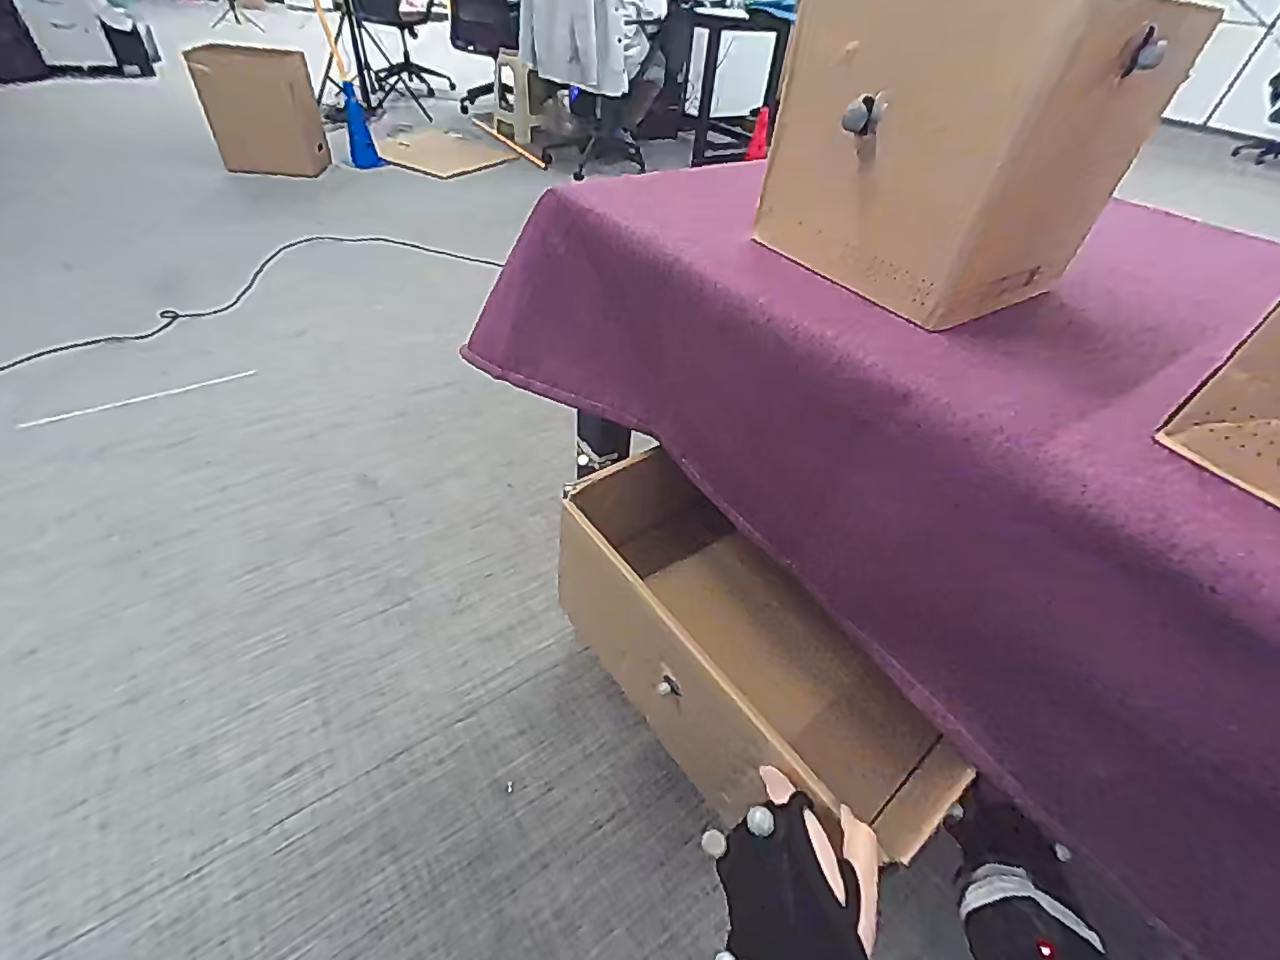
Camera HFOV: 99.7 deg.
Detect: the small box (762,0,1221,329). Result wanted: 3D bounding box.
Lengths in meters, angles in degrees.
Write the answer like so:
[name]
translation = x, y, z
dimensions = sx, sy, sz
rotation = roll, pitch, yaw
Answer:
[small box]
translation = 0.210, -0.227, 0.374
dimensions = 0.168, 0.176, 0.179
rotation = -23, 50, -26
